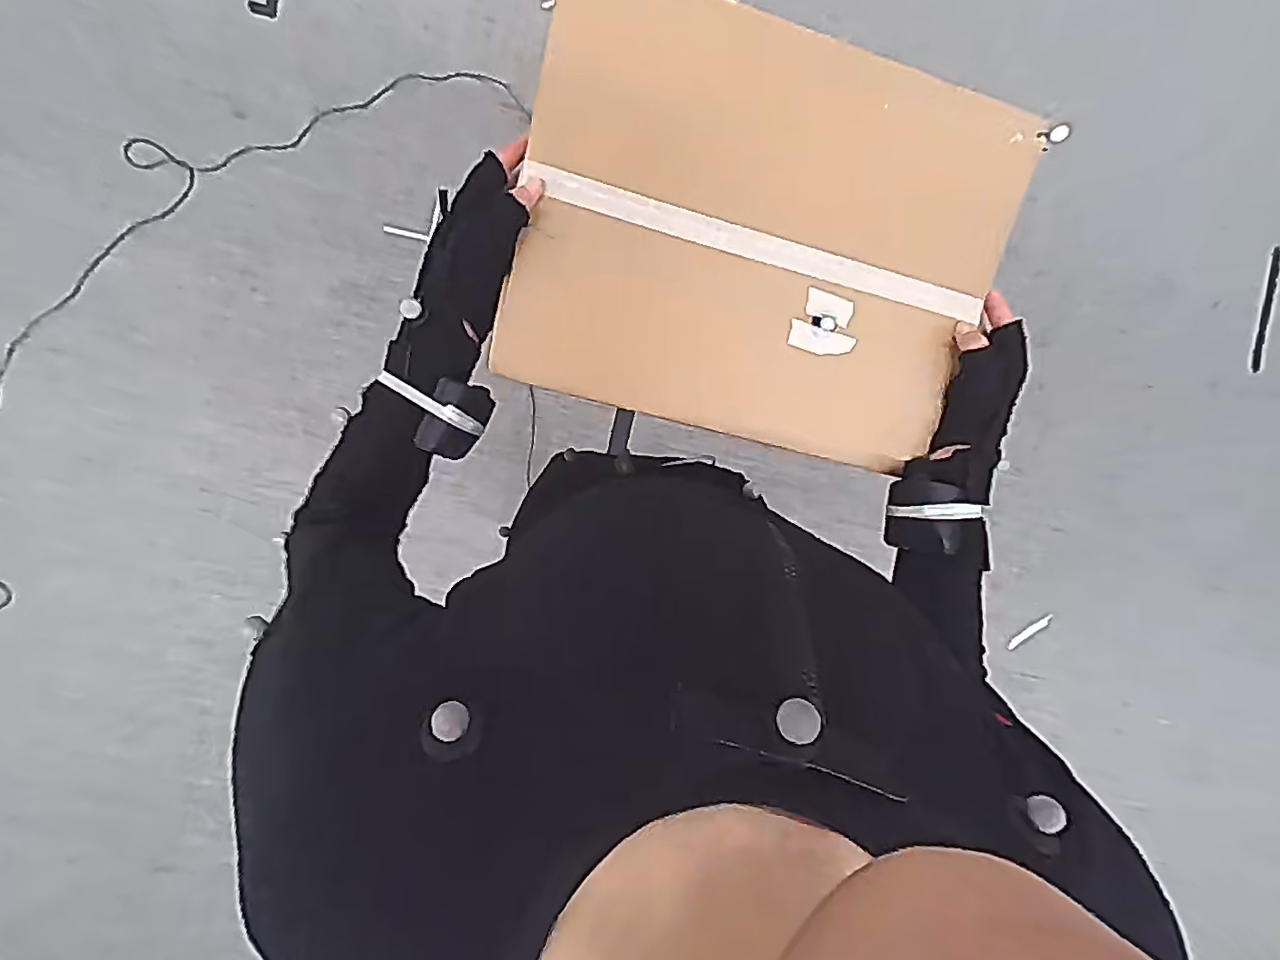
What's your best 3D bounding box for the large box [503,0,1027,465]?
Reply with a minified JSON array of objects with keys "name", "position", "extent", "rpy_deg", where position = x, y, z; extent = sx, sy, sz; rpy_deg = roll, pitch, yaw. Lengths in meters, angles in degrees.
[{"name":"large box","position":[0.089,-0.234,0.606],"extent":[0.408,0.320,0.320],"rpy_deg":[12,104,-9]}]
